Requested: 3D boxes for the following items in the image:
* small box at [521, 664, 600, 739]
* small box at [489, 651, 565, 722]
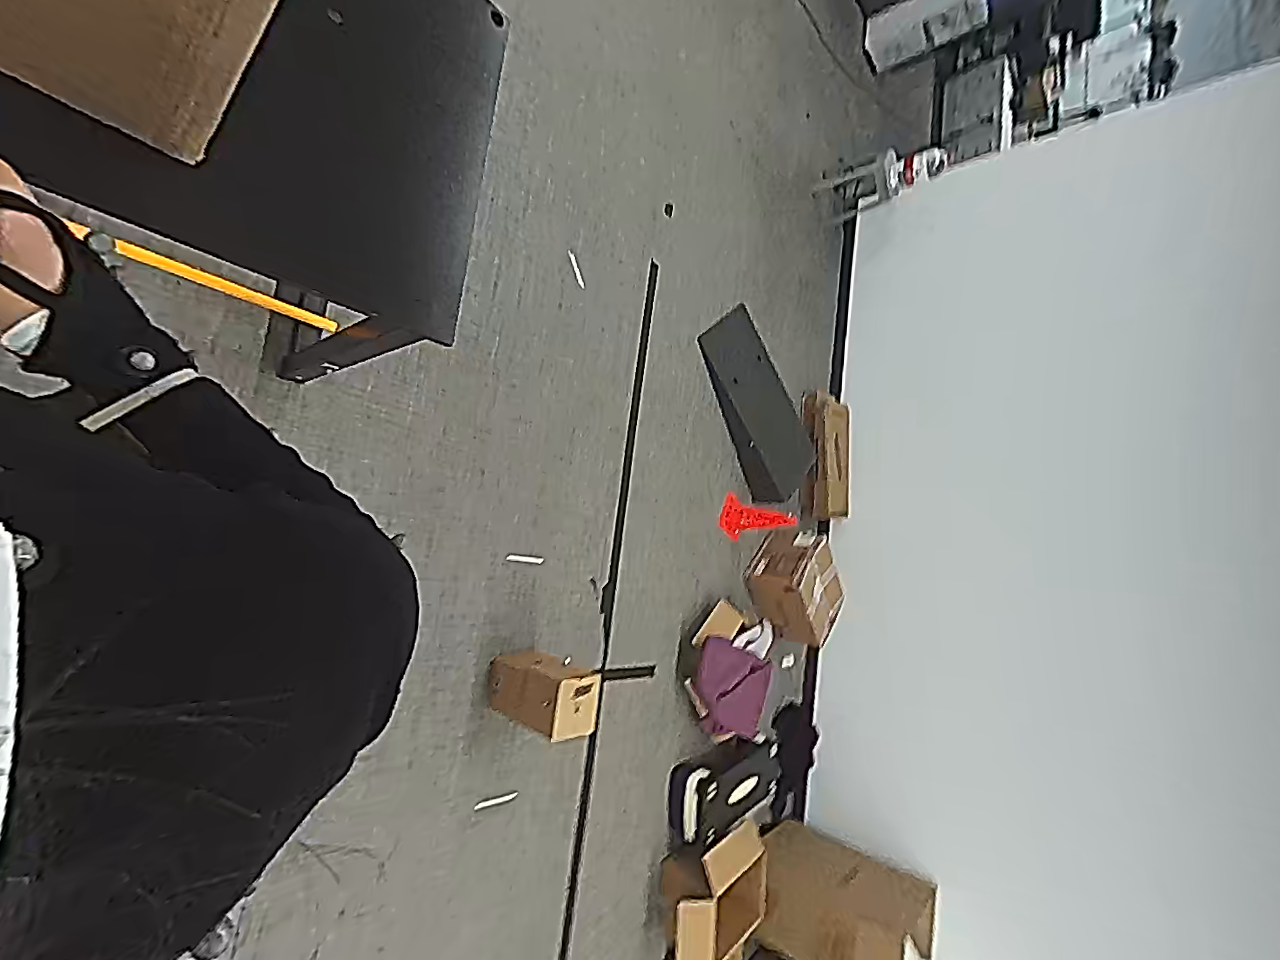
[{"bbox_3d":[-0.249,0.674,1.671,0.168,0.176,0.179,15,80,-47],"label":"small box"},{"bbox_3d":[-0.372,0.672,1.780,0.179,0.176,0.168,8,84,-47],"label":"small box"}]
